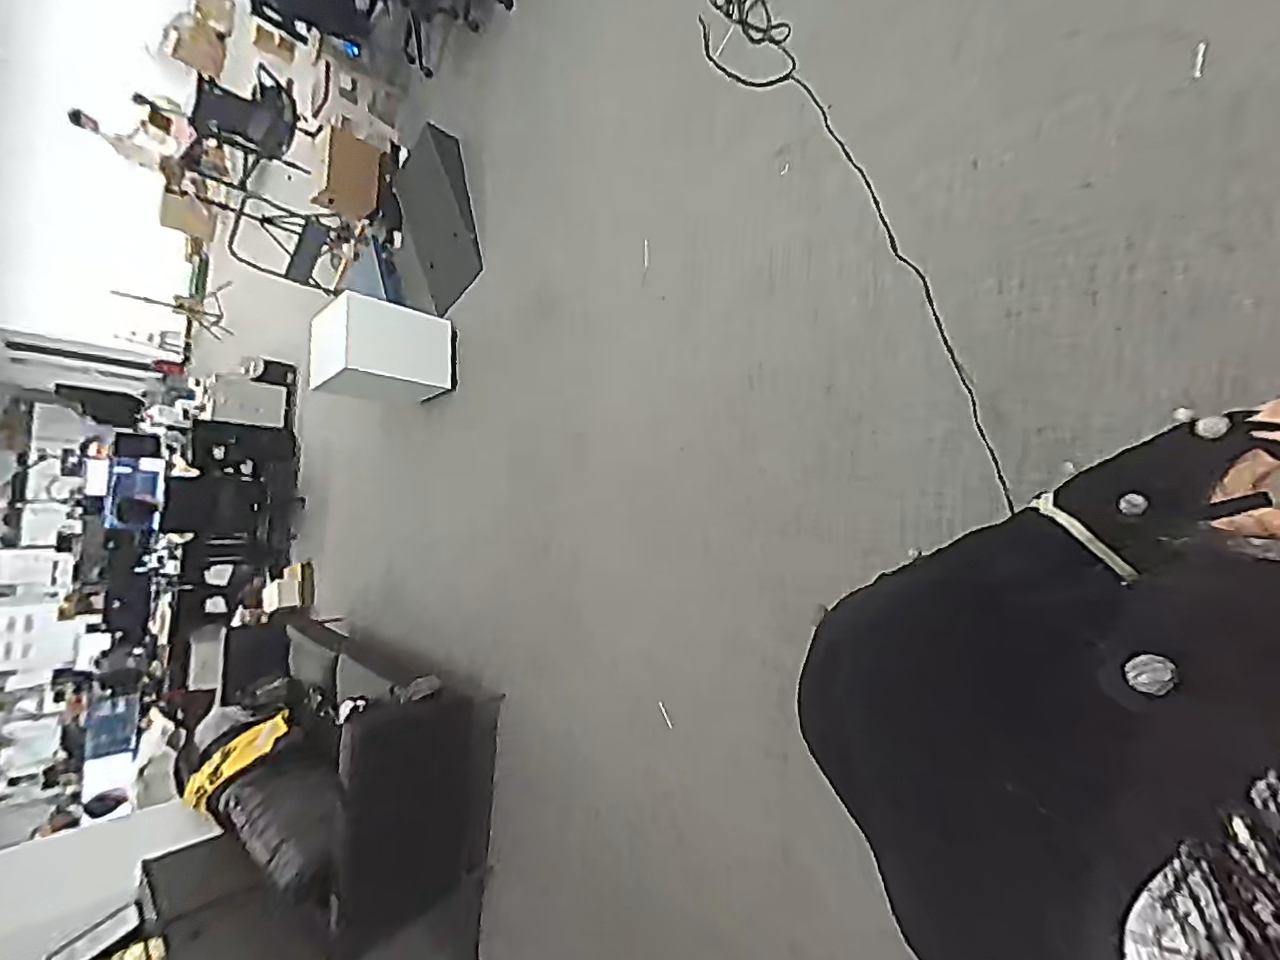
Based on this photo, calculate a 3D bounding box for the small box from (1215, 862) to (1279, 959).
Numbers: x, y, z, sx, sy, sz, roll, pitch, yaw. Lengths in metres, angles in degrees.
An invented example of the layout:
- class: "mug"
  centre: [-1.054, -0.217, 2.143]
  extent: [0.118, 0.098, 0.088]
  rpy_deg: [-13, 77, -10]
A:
- class: "small box"
  centre: [1.093, 0.796, 0.900]
  extent: [0.168, 0.176, 0.179]
  rpy_deg: [8, 91, 42]
